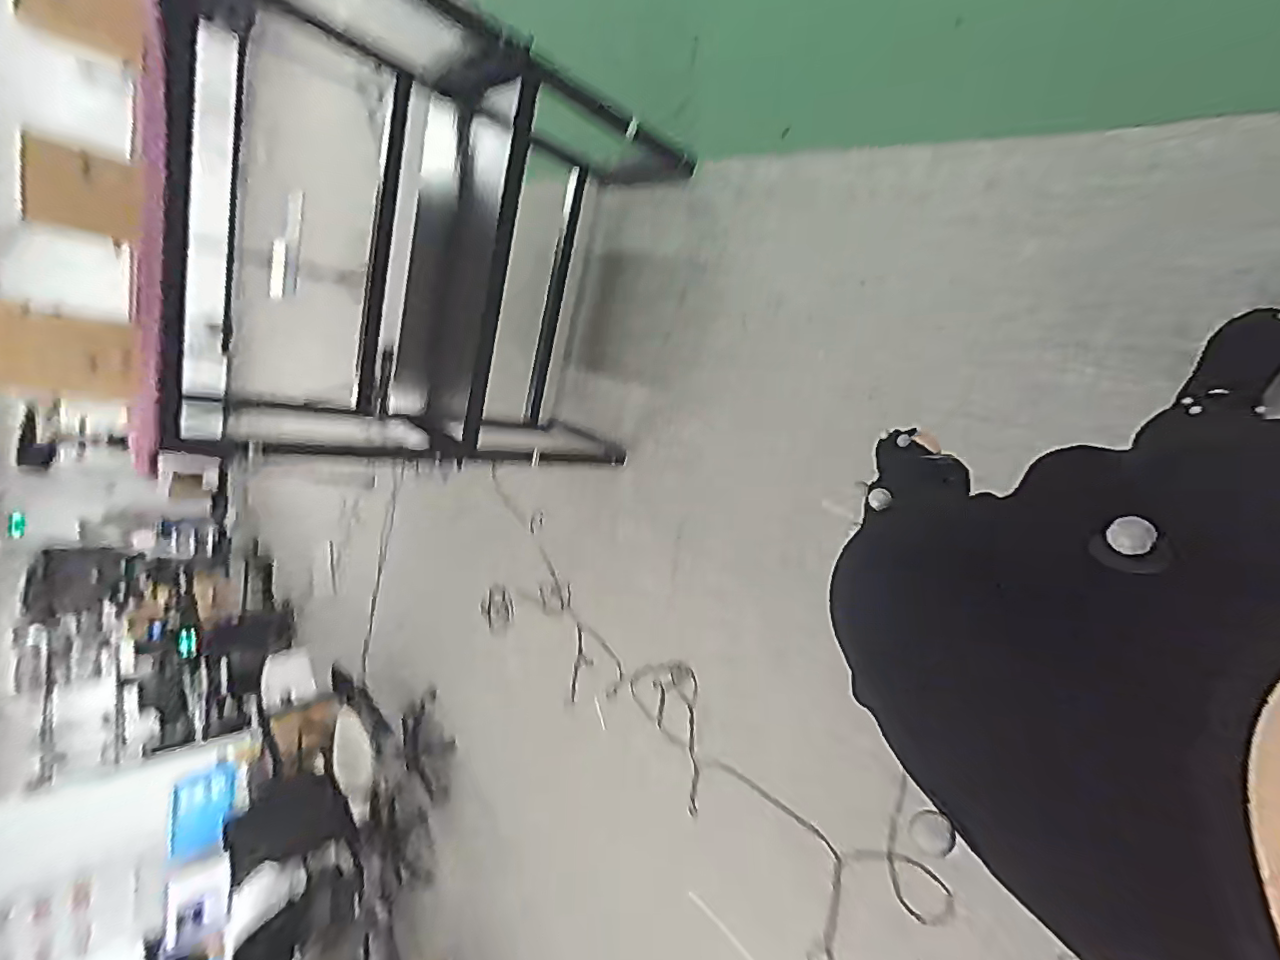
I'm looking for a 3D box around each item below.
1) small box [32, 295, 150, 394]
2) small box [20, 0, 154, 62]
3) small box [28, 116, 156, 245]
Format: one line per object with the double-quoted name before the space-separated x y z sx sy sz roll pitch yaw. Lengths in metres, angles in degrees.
"small box" -1.168 -0.285 1.155 0.179 0.176 0.168 25 106 42
"small box" -1.035 -0.928 1.019 0.168 0.176 0.179 29 110 43
"small box" -1.097 -0.592 1.088 0.168 0.176 0.179 25 109 42
